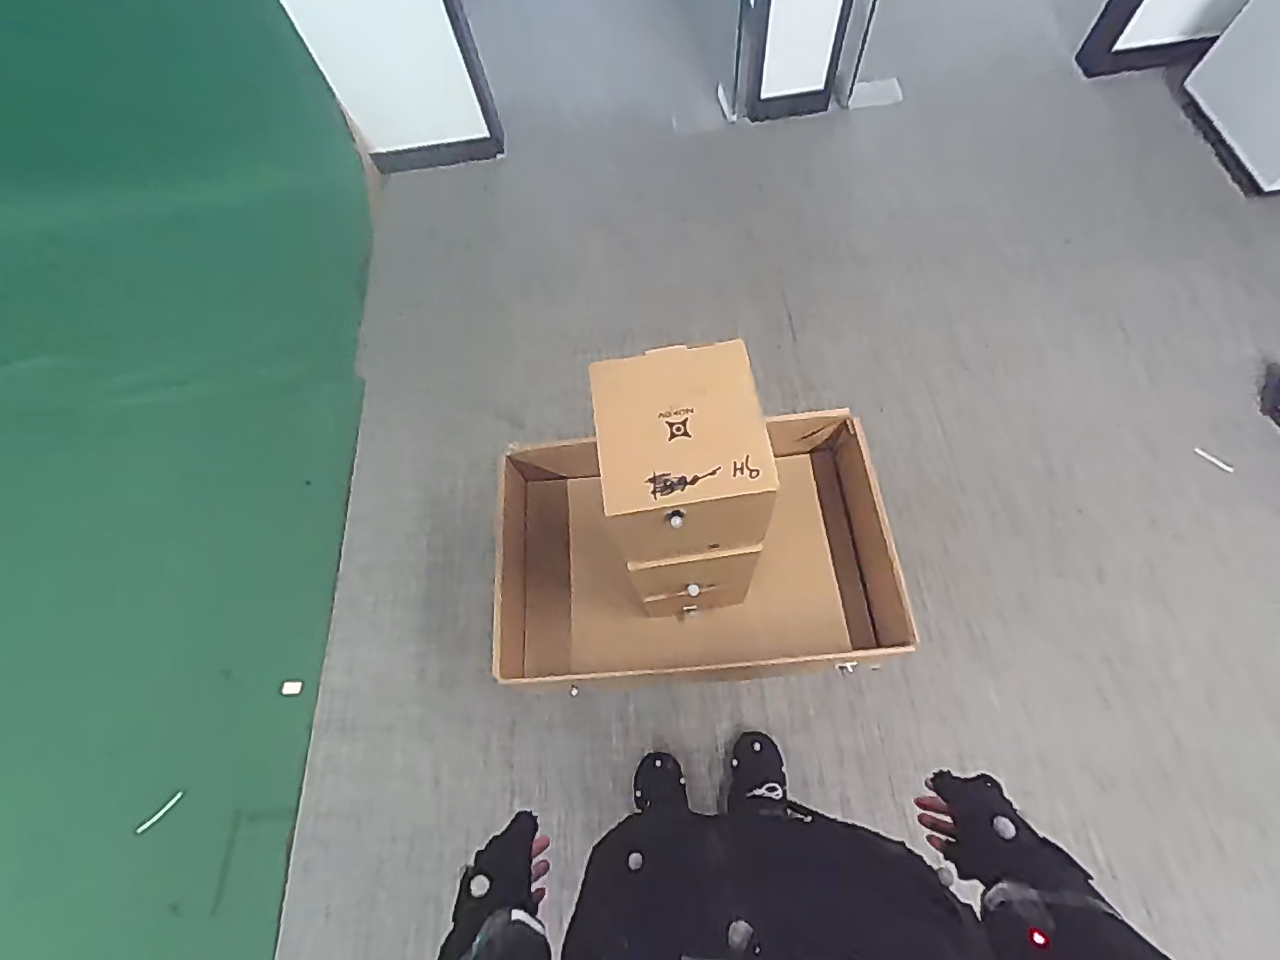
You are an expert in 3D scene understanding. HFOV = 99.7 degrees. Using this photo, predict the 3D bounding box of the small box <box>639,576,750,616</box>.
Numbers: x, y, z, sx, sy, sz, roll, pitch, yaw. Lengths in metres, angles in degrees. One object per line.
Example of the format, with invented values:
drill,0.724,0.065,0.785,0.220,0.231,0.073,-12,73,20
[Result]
small box,0.078,0.116,0.902,0.168,0.176,0.179,-10,67,2

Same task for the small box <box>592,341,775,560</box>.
small box,0.045,-0.025,0.608,0.168,0.176,0.179,-9,65,4

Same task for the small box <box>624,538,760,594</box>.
small box,0.063,0.049,0.754,0.168,0.176,0.179,-8,67,4
